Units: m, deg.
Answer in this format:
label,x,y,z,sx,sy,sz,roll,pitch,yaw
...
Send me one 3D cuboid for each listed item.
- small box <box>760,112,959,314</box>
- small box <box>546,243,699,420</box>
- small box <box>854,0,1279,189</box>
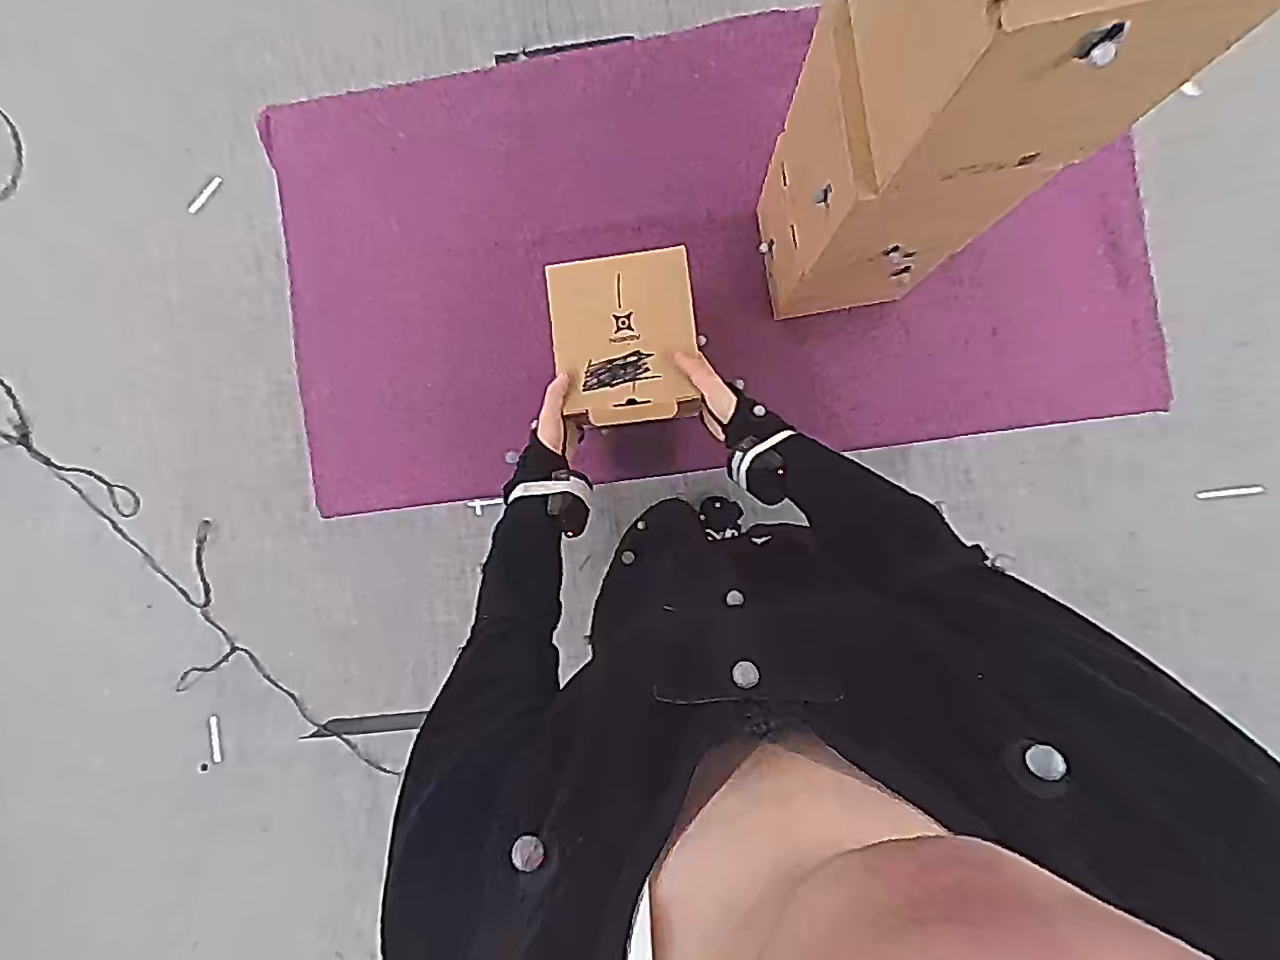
label,x,y,z,sx,sy,sz,roll,pitch,yaw
small box,0.259,-0.324,0.677,0.179,0.176,0.168,-9,88,5
small box,-0.013,-0.174,0.696,0.168,0.176,0.179,-6,88,4
small box,0.254,-0.328,0.350,0.168,0.176,0.179,-9,89,4
